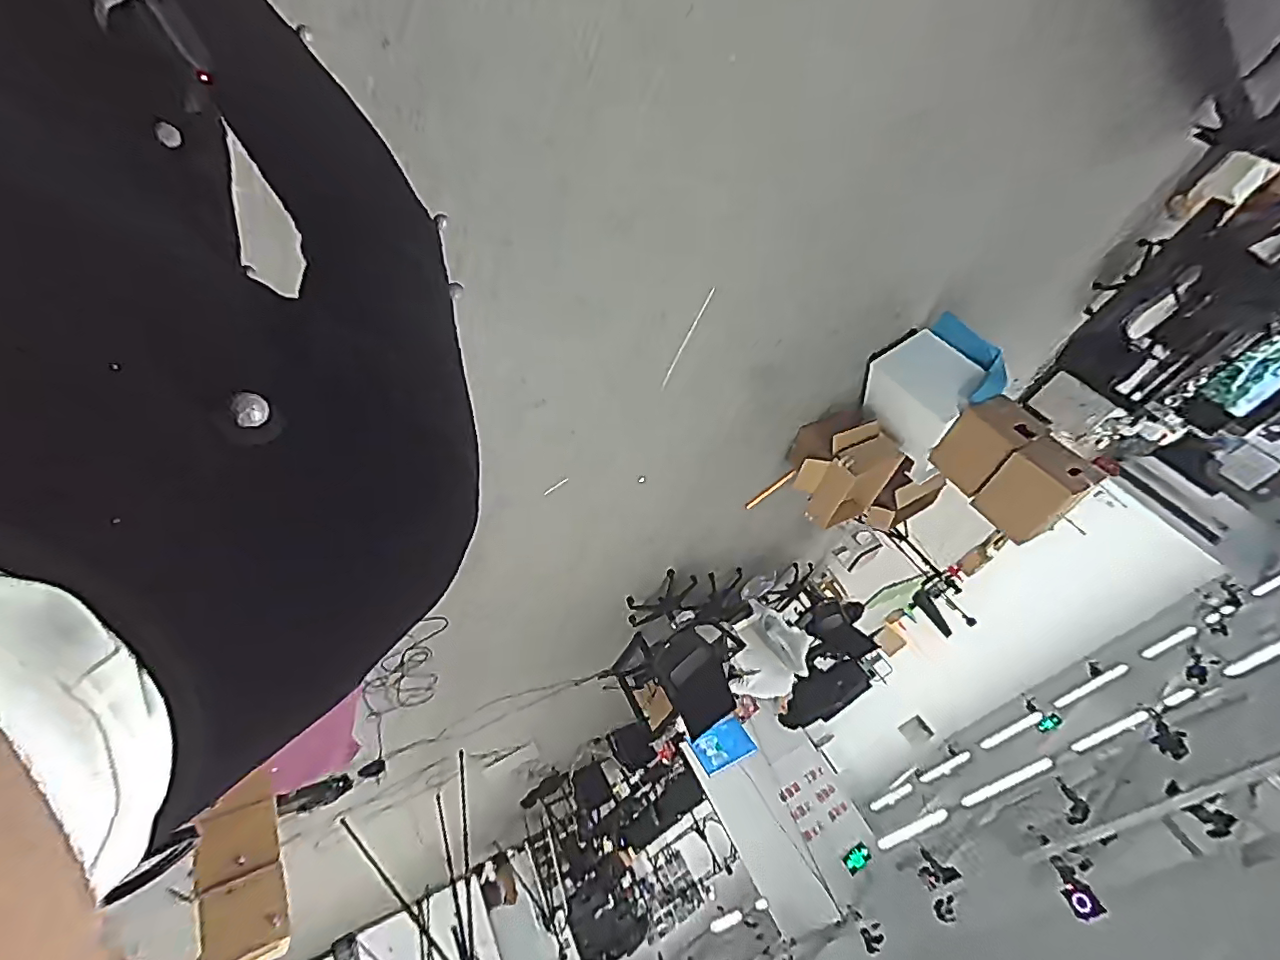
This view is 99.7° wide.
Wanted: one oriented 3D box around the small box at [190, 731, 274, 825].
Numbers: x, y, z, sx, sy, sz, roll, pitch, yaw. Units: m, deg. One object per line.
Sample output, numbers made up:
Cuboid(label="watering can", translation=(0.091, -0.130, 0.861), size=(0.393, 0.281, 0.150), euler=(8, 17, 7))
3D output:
Cuboid(label="small box", translation=(-1.131, 0.833, 1.500), size=(0.179, 0.176, 0.168), euler=(-3, 138, -38))

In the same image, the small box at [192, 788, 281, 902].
Cuboid(label="small box", translation=(-1.055, 0.946, 1.413), size=(0.179, 0.176, 0.168), euler=(-4, 137, -39))
